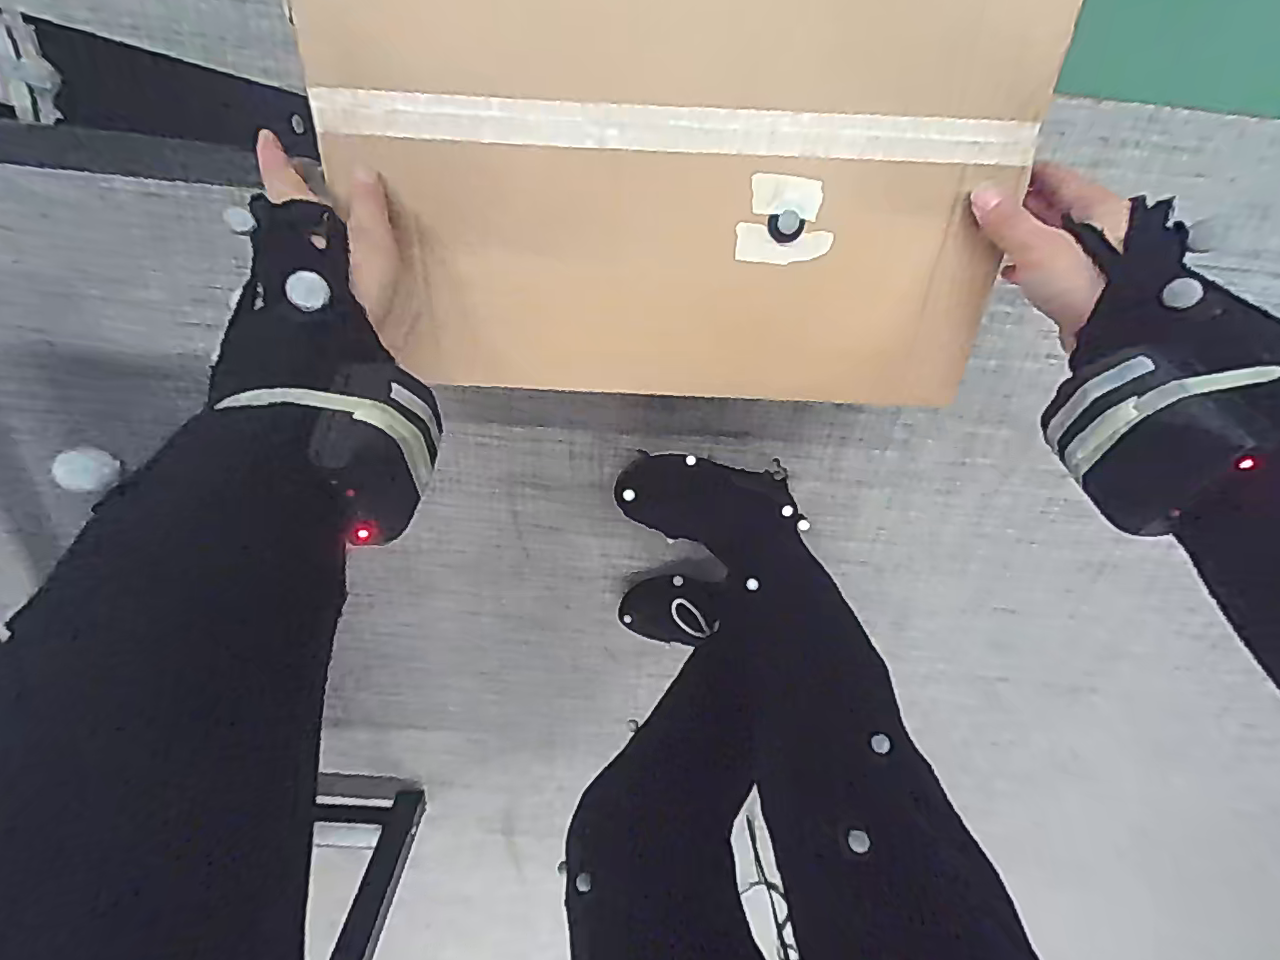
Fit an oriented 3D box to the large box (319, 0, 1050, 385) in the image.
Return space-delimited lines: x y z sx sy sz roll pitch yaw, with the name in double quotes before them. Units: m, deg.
"large box" 0.019 -0.273 0.452 0.408 0.320 0.320 1 117 -1
